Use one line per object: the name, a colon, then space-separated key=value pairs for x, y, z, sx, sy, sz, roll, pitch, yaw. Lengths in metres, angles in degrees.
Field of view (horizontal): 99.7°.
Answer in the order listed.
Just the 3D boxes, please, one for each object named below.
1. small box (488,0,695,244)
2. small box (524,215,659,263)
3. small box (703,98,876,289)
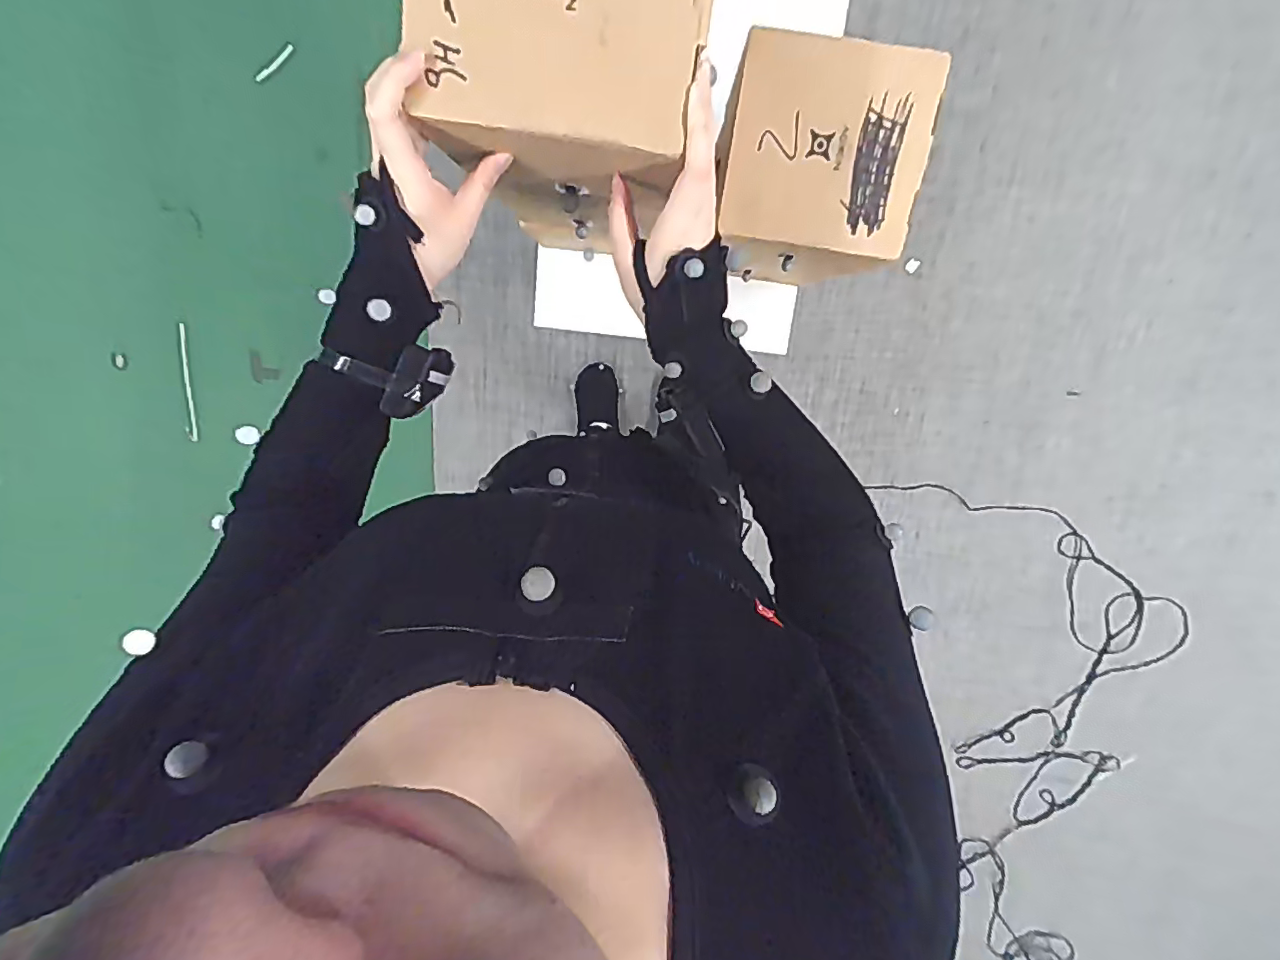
small box: x=-0.046 y=-0.355 z=0.548 sx=0.168 sy=0.176 sz=0.179 roll=8 pitch=105 yaw=-2
small box: x=-0.050 y=-0.394 z=0.707 sx=0.168 sy=0.176 sz=0.179 roll=7 pitch=106 yaw=-1
small box: x=0.180 y=-0.361 z=0.713 sx=0.168 sy=0.176 sz=0.179 roll=8 pitch=106 yaw=0
